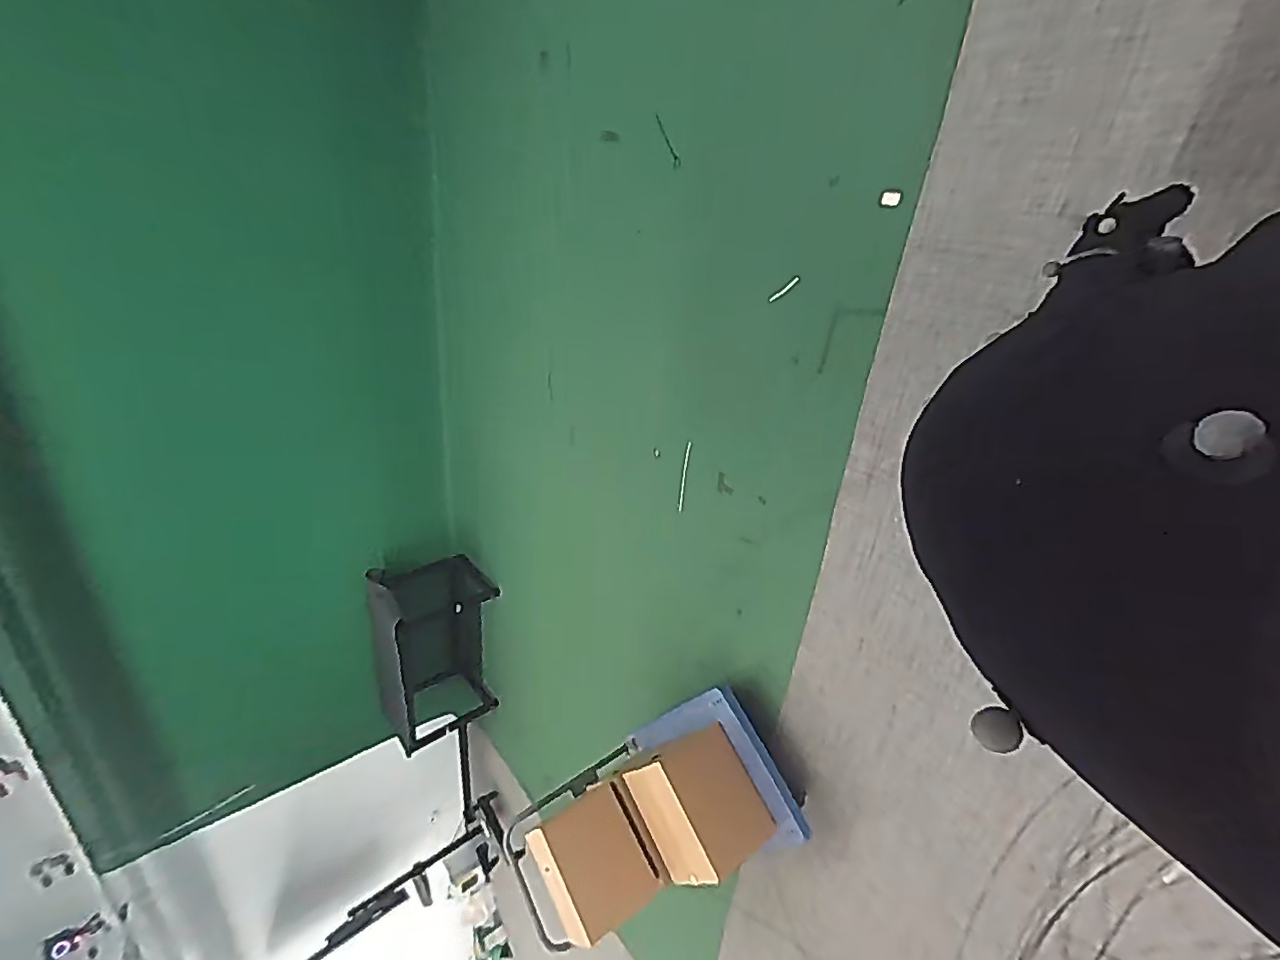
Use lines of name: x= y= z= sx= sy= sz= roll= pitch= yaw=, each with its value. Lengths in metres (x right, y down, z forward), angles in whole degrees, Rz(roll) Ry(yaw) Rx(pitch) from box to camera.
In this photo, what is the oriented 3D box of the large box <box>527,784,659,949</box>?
large box: x=-0.188 y=1.466 z=2.075 sx=0.408 sy=0.320 sz=0.320 roll=58 pitch=143 yaw=22
